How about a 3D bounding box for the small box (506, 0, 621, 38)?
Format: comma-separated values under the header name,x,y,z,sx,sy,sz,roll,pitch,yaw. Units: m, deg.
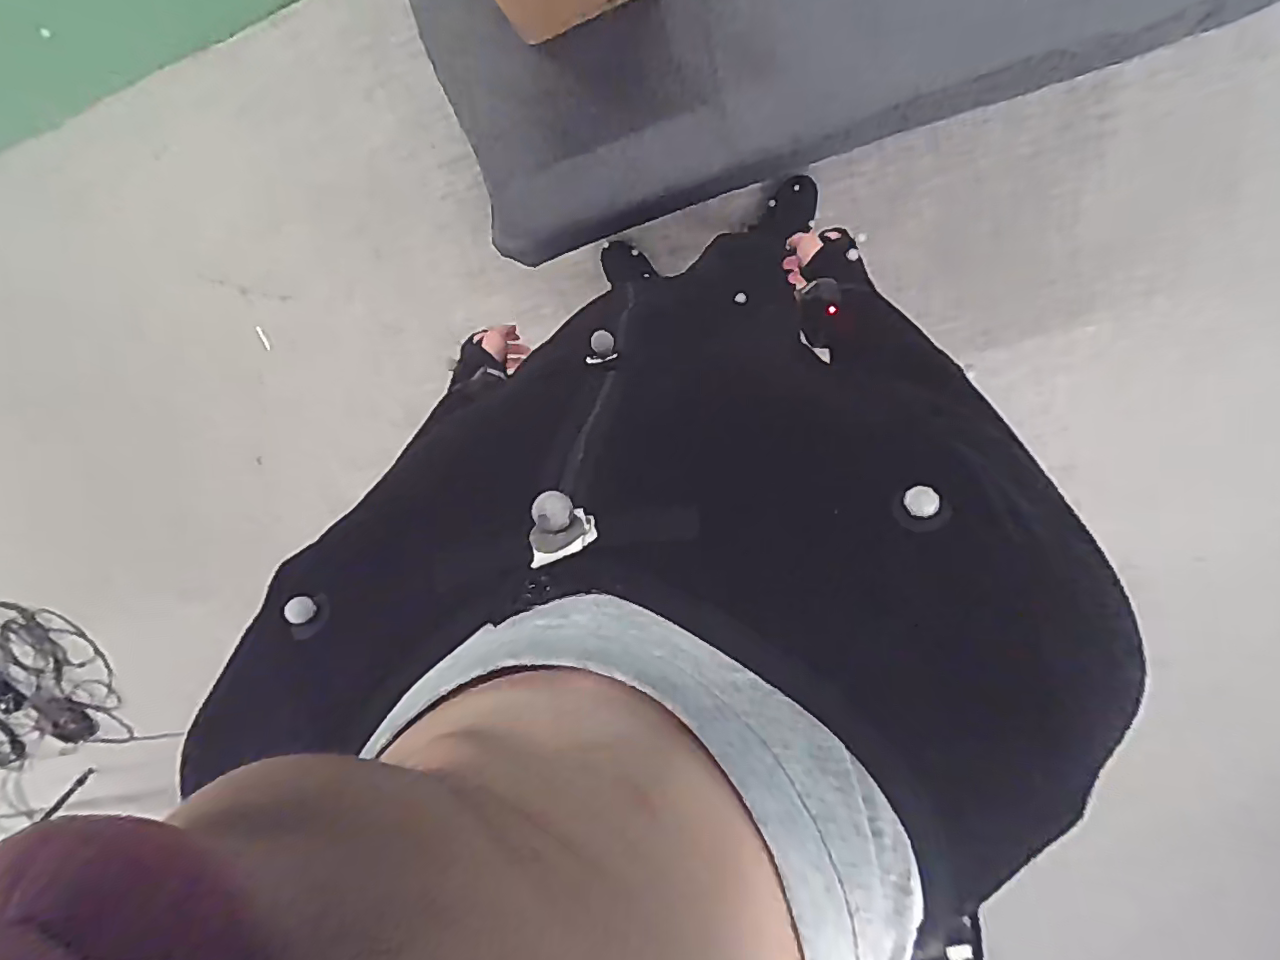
name,x,y,z,sx,sy,sz,roll,pitch,yaw
small box,-0.083,-0.558,0.489,0.168,0.176,0.179,-17,112,12
